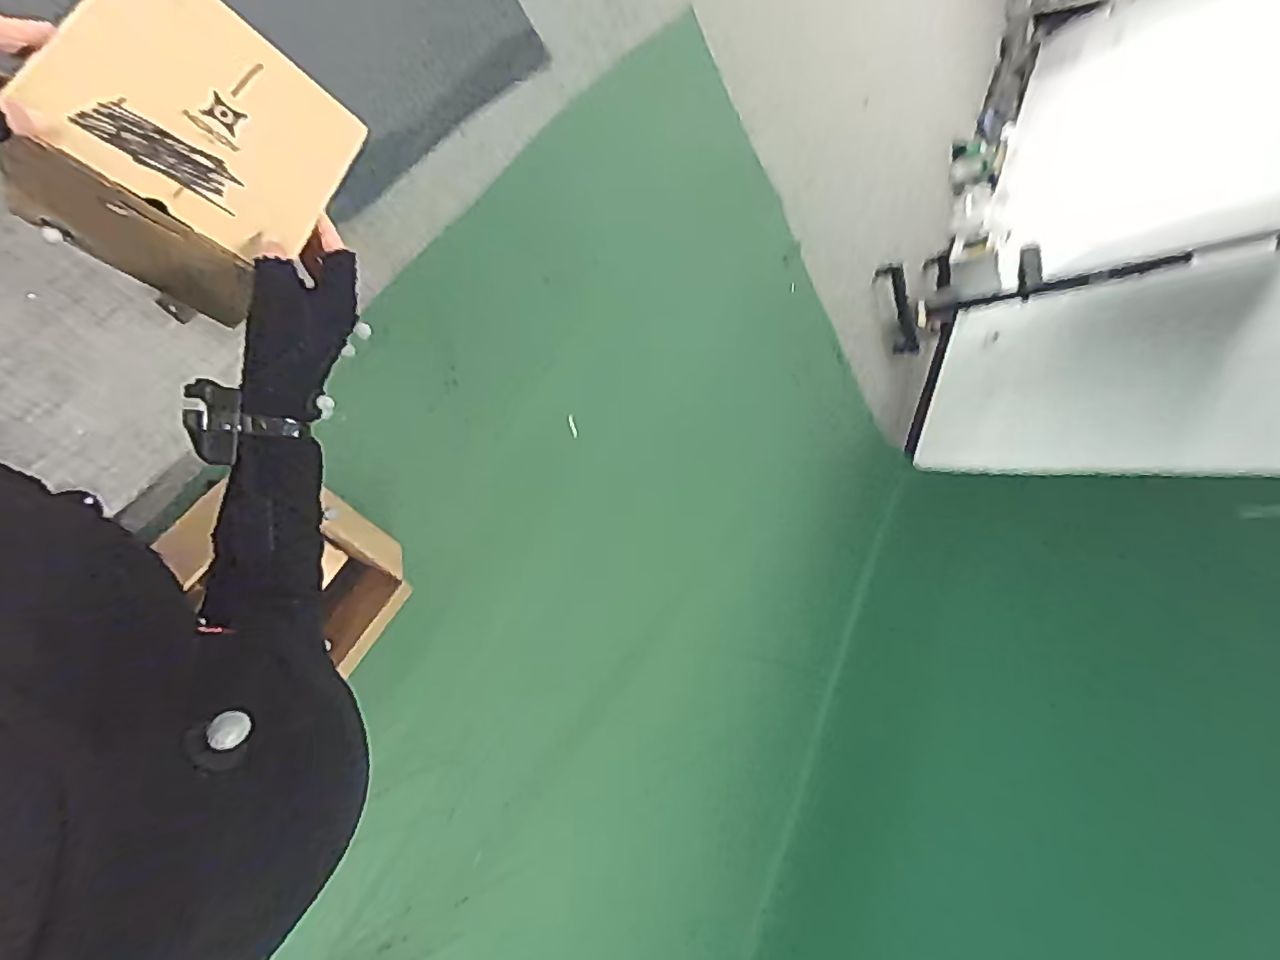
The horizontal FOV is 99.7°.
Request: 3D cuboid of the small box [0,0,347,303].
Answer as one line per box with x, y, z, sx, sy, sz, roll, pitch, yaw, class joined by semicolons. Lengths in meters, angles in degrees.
-0.382;-0.274;0.443;0.168;0.176;0.179;31;67;-43;small box
